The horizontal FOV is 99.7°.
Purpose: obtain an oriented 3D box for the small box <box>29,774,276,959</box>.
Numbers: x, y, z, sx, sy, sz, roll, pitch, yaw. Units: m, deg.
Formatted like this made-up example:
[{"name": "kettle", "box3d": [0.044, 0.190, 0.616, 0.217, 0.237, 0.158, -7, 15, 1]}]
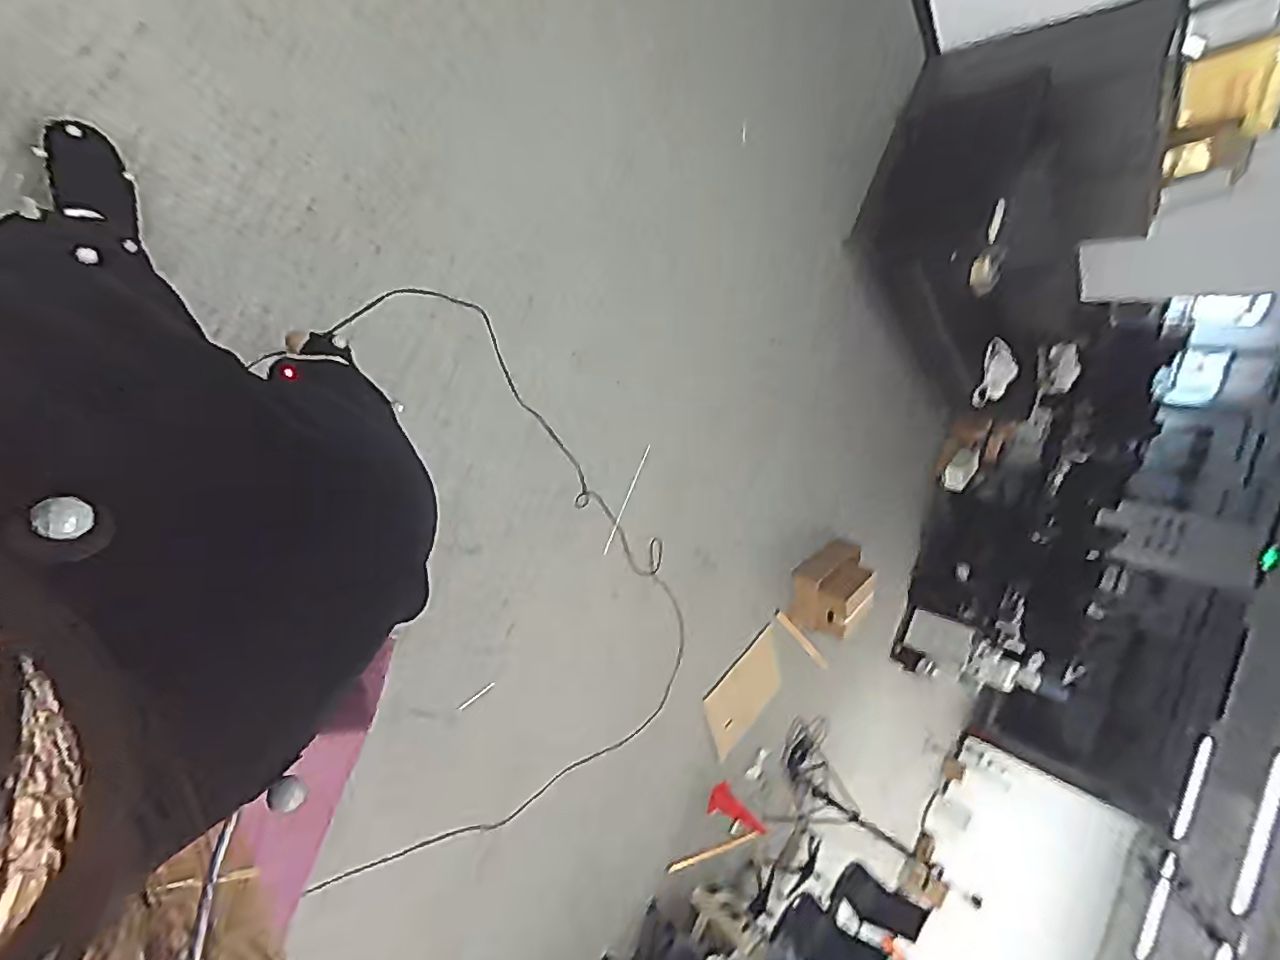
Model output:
[{"name": "small box", "box3d": [-0.564, 0.479, 0.628, 0.168, 0.176, 0.179, 25, 85, -47]}]
